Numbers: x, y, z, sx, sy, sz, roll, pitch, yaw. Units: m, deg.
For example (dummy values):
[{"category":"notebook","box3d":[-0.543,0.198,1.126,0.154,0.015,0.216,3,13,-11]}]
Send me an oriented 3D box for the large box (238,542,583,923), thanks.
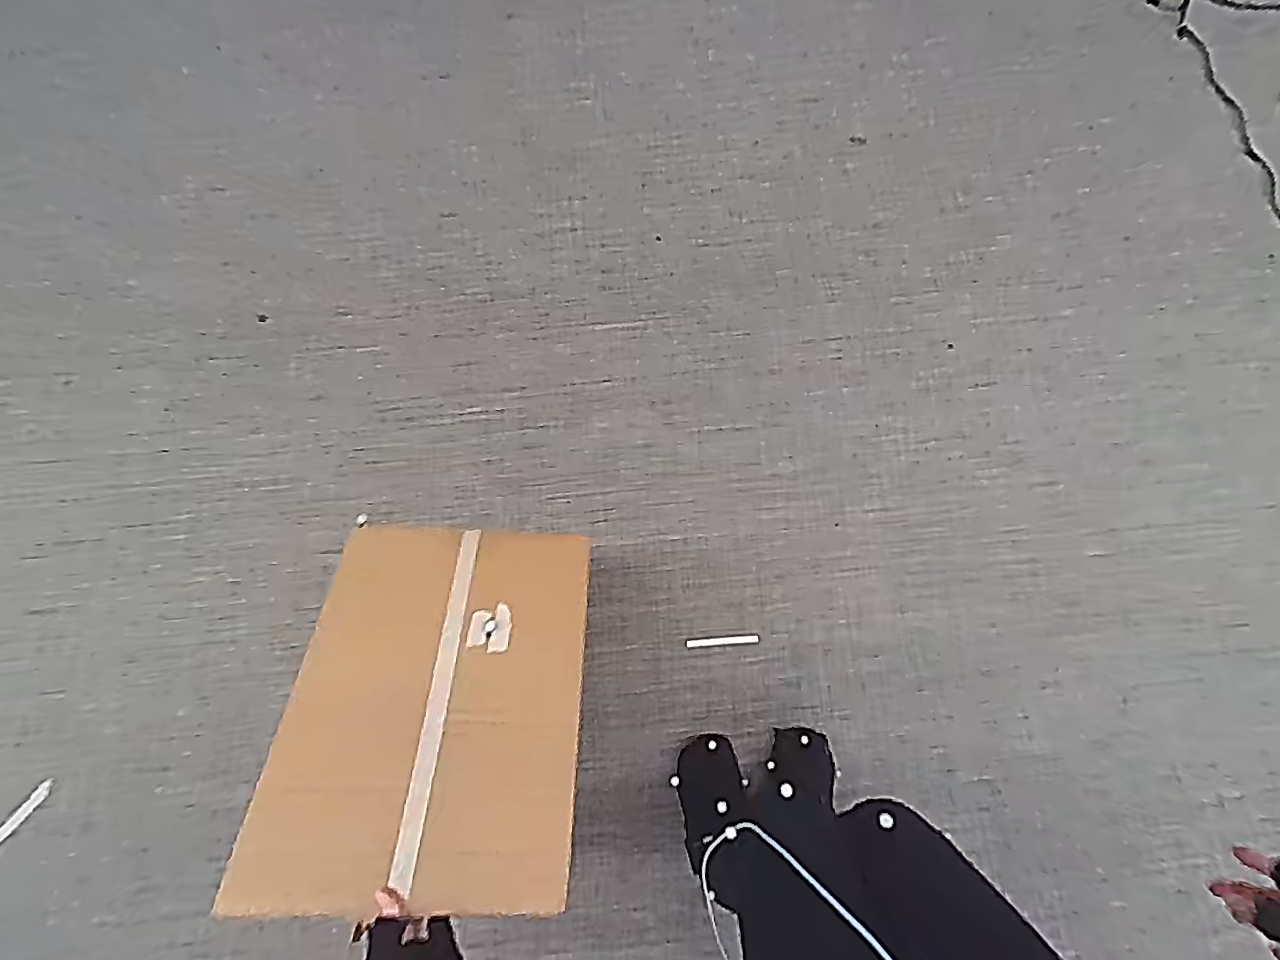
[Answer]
[{"category":"large box","box3d":[-0.241,0.338,0.741,0.320,0.320,0.408,3,52,-6]}]
